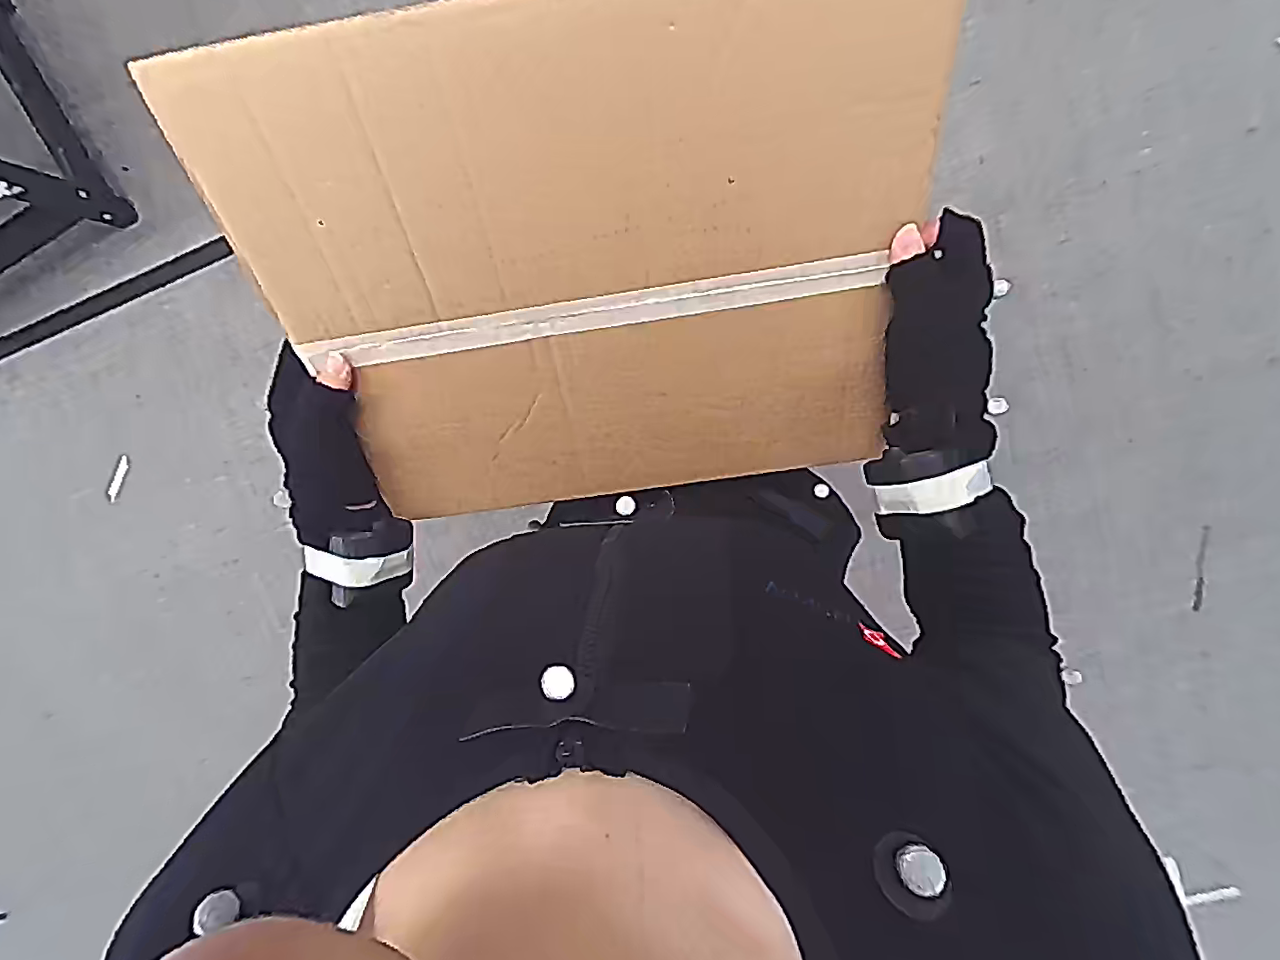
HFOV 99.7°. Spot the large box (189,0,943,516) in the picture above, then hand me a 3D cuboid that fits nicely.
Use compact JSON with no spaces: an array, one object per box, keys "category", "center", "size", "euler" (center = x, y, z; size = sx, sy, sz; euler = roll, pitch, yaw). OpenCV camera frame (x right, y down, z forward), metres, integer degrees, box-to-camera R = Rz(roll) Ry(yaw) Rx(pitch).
[{"category":"large box","center":[-0.028,-0.208,0.479],"size":[0.408,0.320,0.320],"euler":[-8,130,4]}]
